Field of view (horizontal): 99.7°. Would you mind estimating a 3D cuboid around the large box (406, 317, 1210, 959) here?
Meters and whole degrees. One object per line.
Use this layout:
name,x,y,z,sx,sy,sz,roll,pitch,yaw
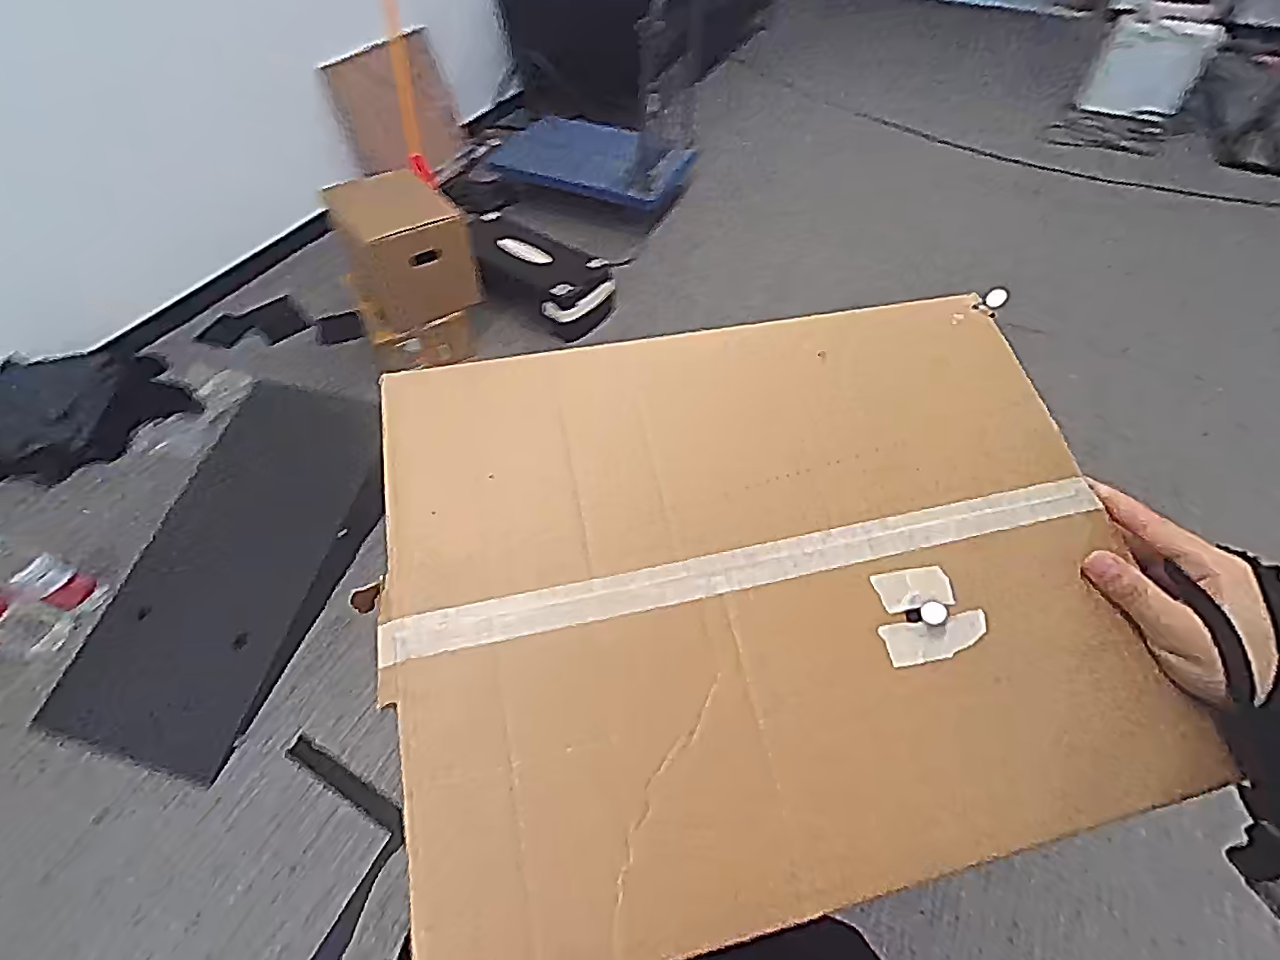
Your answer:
large box,0.066,0.110,0.445,0.408,0.320,0.320,-9,69,-9
